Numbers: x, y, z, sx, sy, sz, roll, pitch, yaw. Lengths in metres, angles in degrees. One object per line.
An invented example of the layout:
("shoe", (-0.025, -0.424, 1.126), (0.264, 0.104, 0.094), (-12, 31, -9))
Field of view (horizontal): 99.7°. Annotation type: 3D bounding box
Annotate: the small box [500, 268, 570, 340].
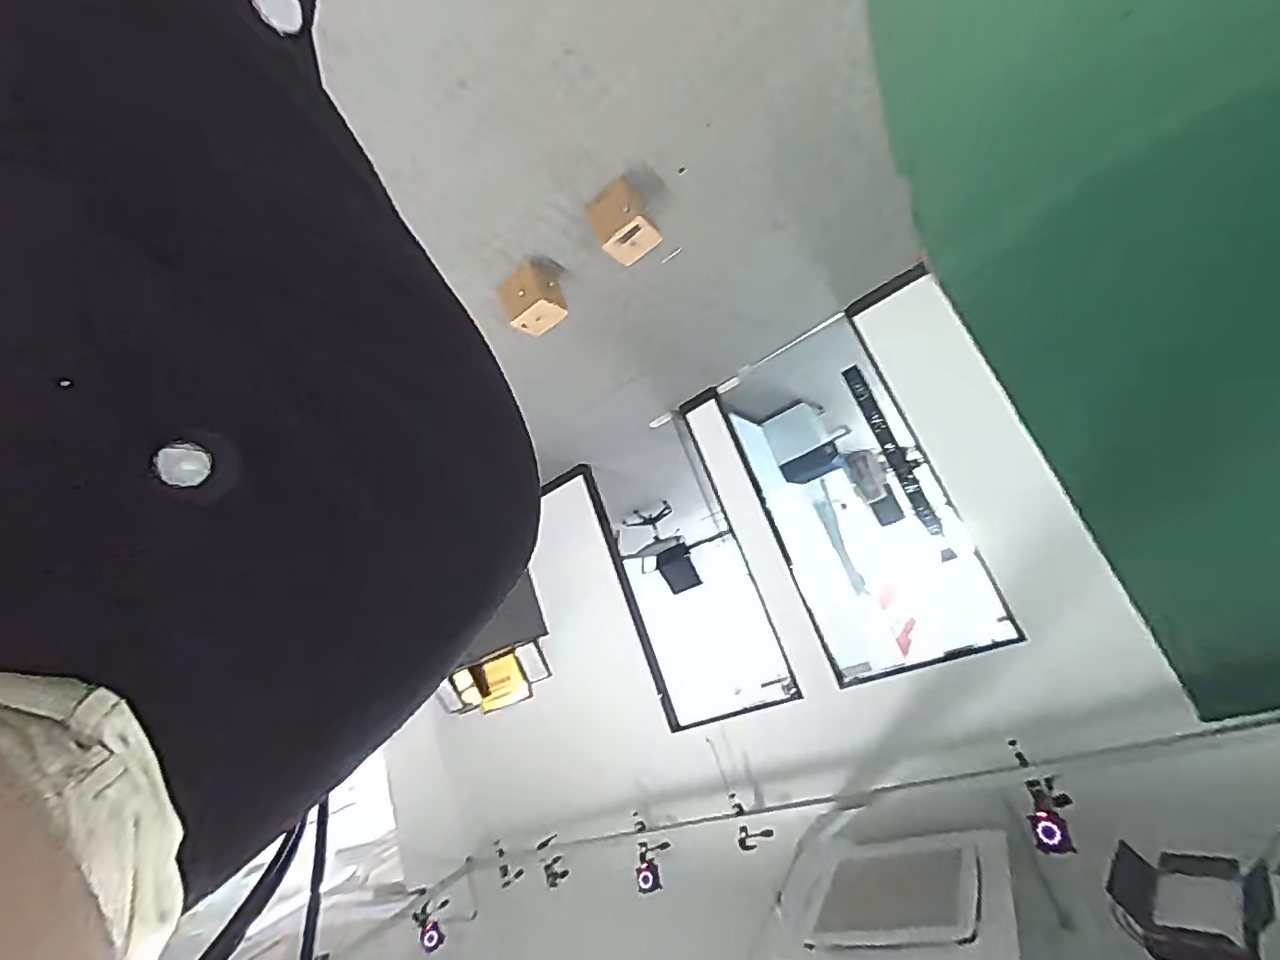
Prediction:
("small box", (-0.401, -0.666, 2.045), (0.179, 0.176, 0.168), (-29, 162, 26))
